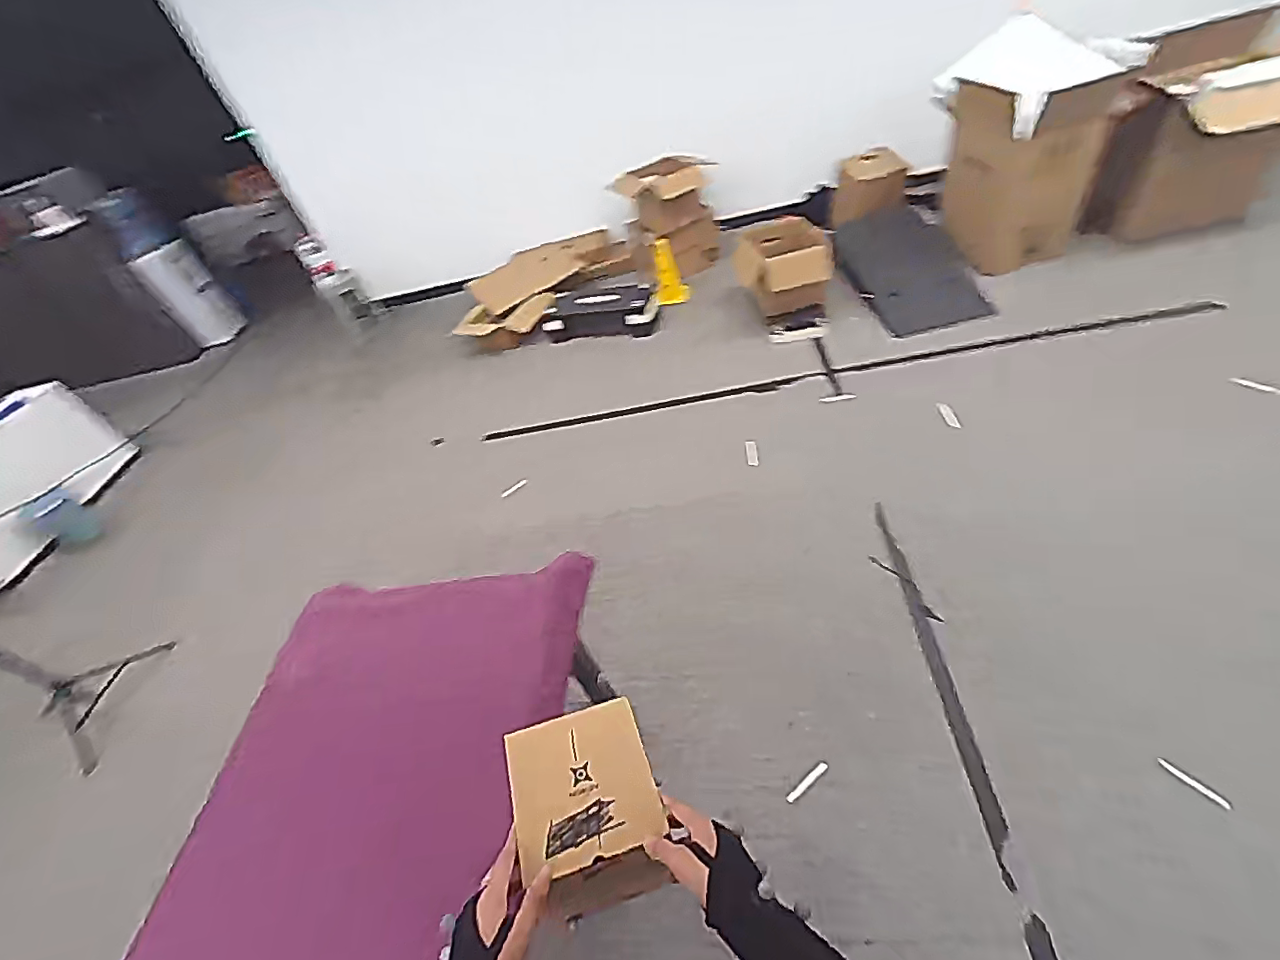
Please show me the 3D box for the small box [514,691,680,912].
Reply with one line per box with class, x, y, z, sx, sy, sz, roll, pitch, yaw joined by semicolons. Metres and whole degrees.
small box;-0.052;0.408;0.682;0.168;0.176;0.179;-13;39;-11
